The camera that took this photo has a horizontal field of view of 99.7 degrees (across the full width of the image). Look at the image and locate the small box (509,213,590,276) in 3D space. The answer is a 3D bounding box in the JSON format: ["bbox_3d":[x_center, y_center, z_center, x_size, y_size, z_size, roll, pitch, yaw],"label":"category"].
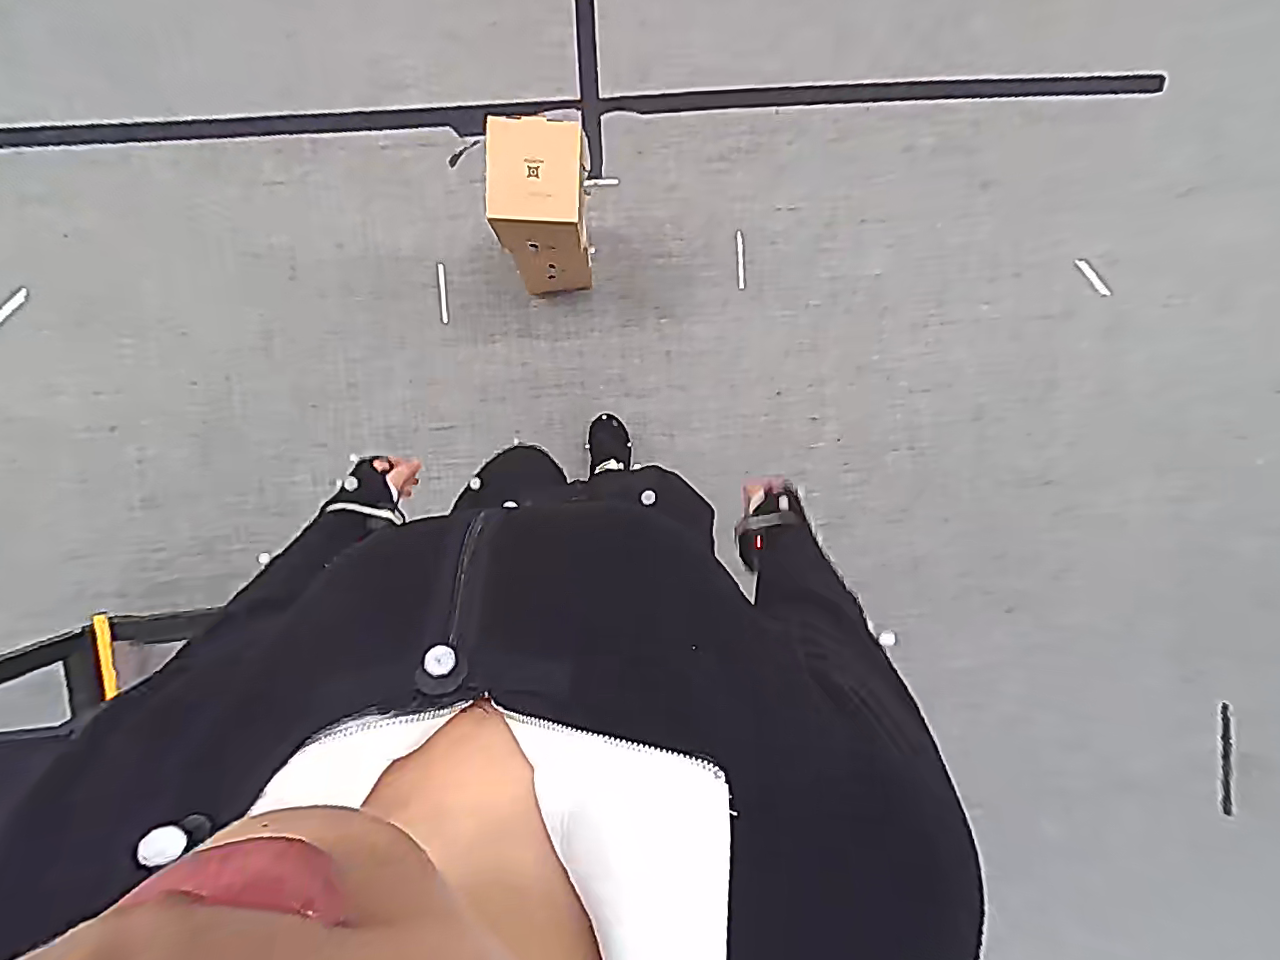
[{"bbox_3d":[-0.198,-0.565,1.186,0.168,0.176,0.179,-4,95,-3],"label":"small box"}]

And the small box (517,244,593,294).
[{"bbox_3d":[-0.214,-0.576,1.349,0.179,0.176,0.168,-8,95,-4],"label":"small box"}]

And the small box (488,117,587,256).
[{"bbox_3d":[-0.188,-0.546,1.024,0.168,0.176,0.179,1,95,-3],"label":"small box"}]
